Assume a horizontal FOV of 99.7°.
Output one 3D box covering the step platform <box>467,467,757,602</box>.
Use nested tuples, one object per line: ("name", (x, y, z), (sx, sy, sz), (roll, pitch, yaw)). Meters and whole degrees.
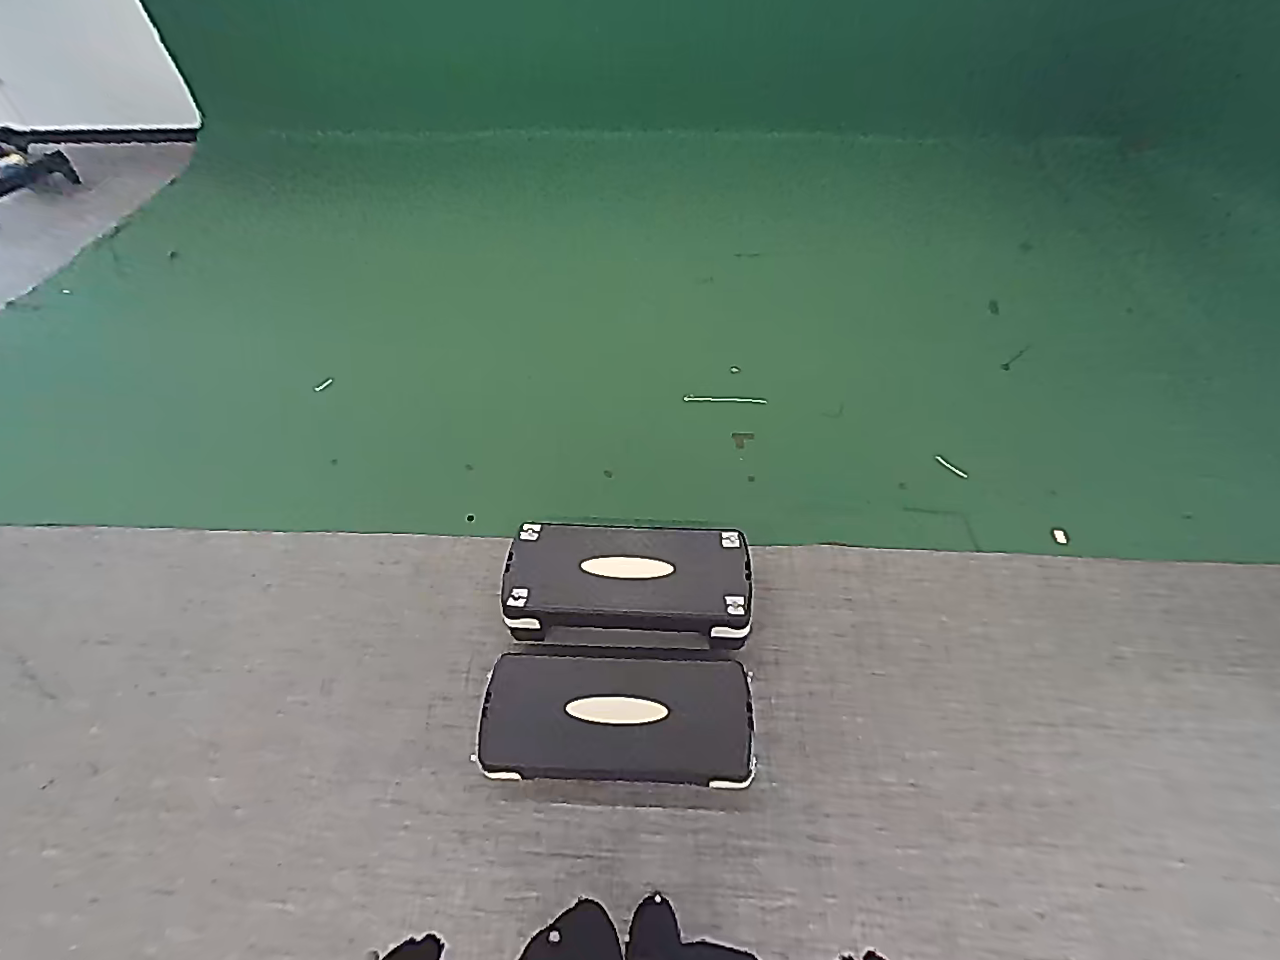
("step platform", (-0.062, 0.140, 1.367), (0.684, 0.204, 0.286), (1, 53, 3))
